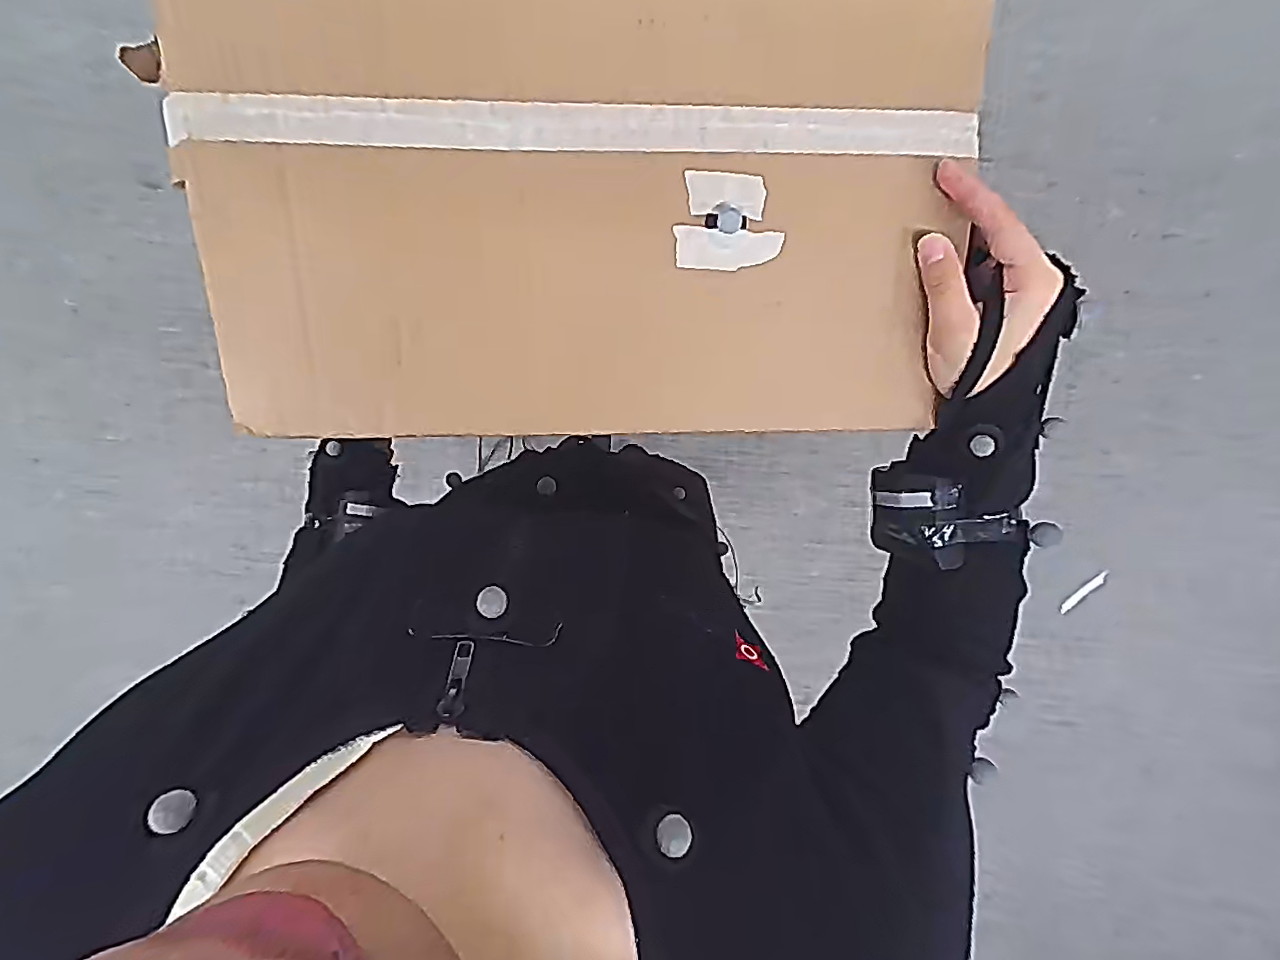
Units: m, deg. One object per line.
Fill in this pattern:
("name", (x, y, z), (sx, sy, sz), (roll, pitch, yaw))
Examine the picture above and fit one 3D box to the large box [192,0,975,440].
("large box", (-0.033, -0.214, 0.433), (0.408, 0.320, 0.320), (-2, 104, -5))
